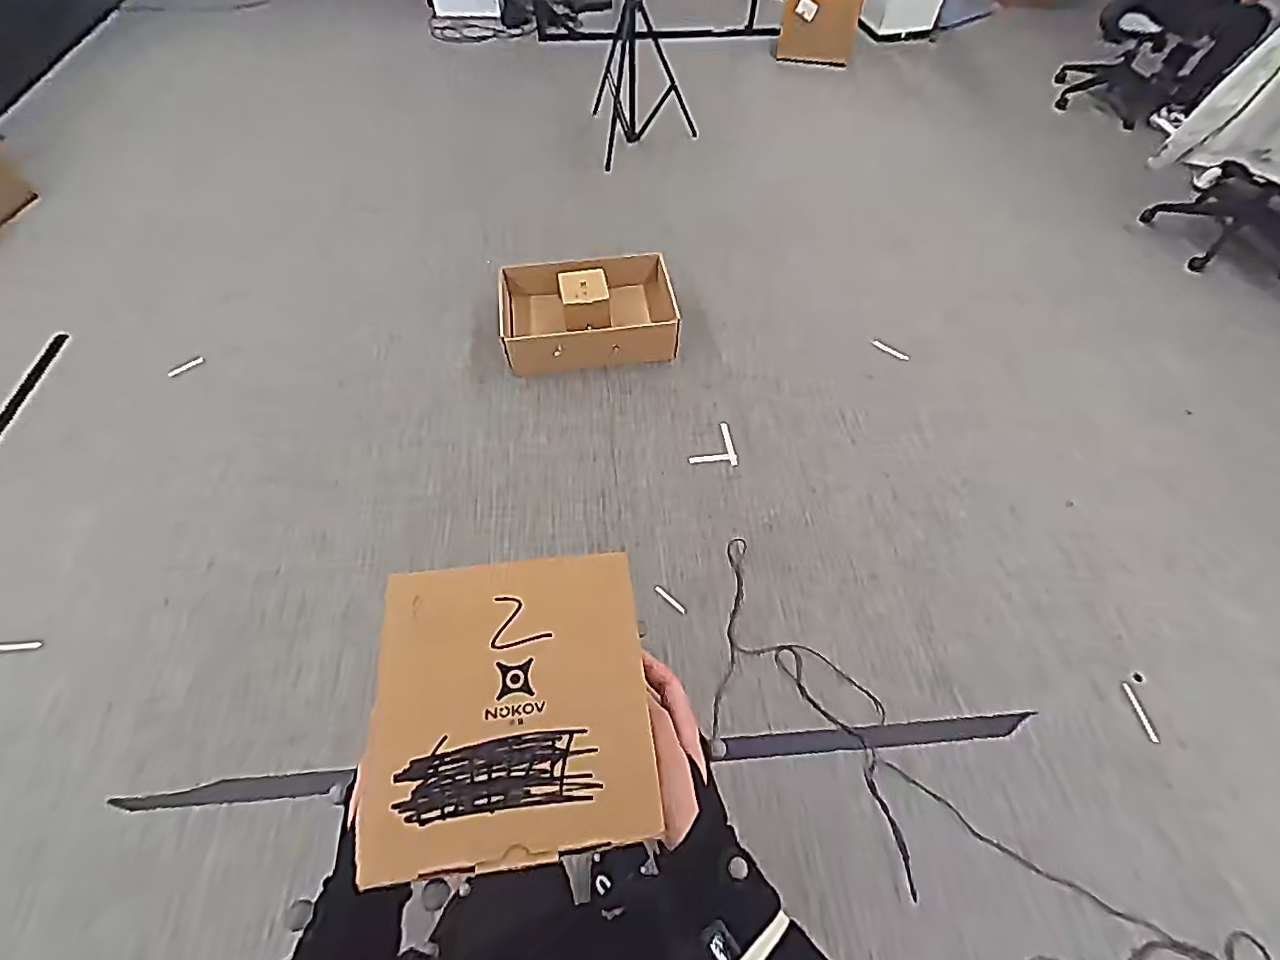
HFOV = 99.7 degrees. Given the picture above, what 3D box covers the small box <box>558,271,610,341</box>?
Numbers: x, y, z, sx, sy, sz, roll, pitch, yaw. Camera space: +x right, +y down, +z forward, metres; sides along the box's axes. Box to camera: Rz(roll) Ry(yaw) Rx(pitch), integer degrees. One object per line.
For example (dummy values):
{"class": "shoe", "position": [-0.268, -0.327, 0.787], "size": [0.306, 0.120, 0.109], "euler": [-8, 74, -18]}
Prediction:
{"class": "small box", "position": [-0.205, -0.639, 1.989], "size": [0.168, 0.176, 0.179], "euler": [-9, 58, -6]}
